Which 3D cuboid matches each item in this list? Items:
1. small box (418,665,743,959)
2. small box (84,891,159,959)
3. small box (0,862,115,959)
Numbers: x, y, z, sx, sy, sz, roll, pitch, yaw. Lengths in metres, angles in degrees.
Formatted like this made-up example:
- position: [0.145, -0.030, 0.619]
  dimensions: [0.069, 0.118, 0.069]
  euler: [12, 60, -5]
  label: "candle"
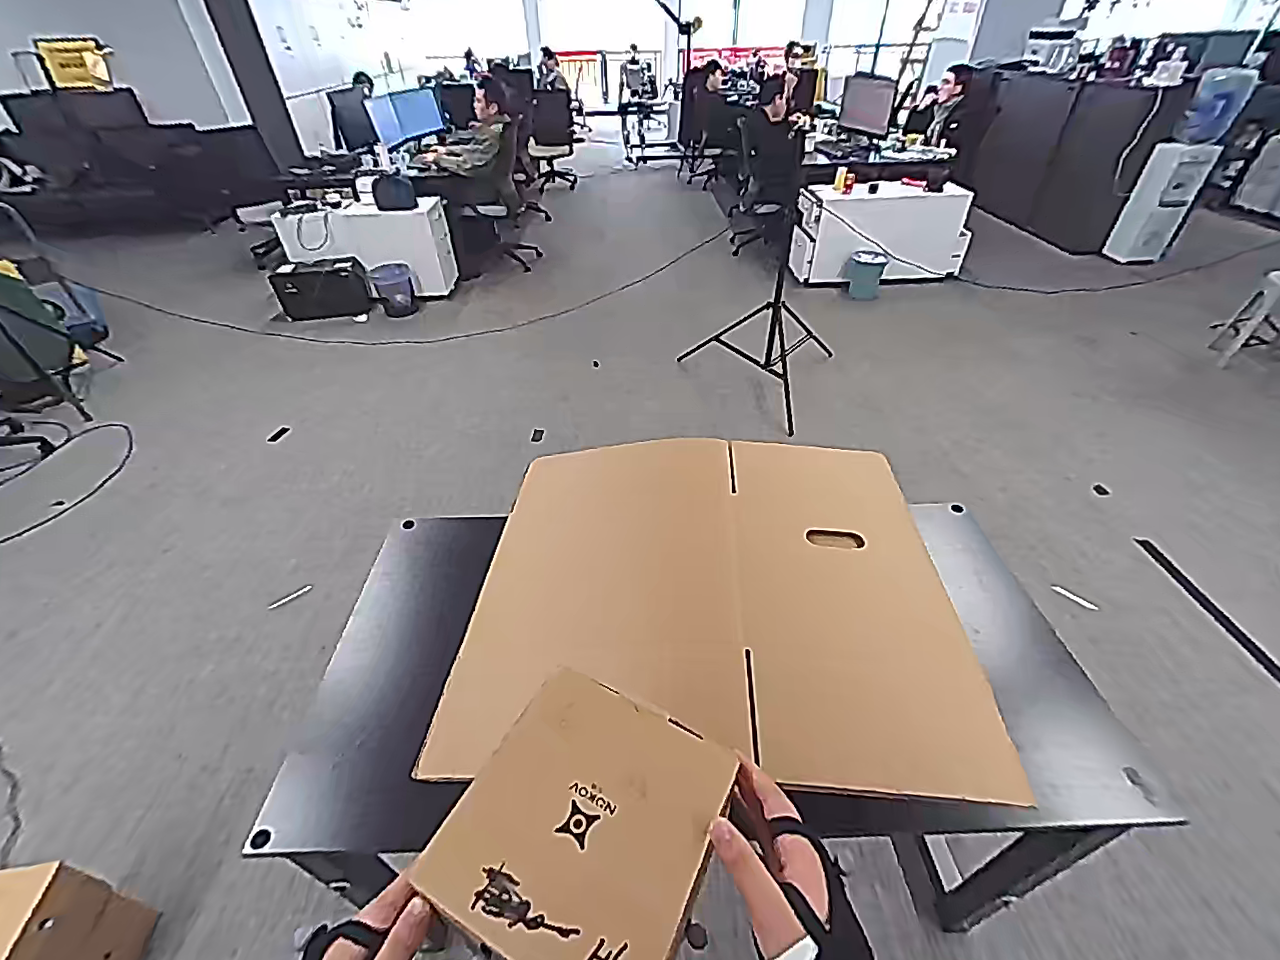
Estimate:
- position: [-0.034, 0.291, 0.424]
  dimensions: [0.168, 0.176, 0.179]
  euler: [18, 41, 23]
  label: "small box"
- position: [-1.153, 0.982, 1.111]
  dimensions: [0.168, 0.176, 0.179]
  euler: [-5, 41, -3]
  label: "small box"
- position: [-1.159, 0.854, 1.012]
  dimensions: [0.168, 0.176, 0.179]
  euler: [-6, 39, -6]
  label: "small box"
